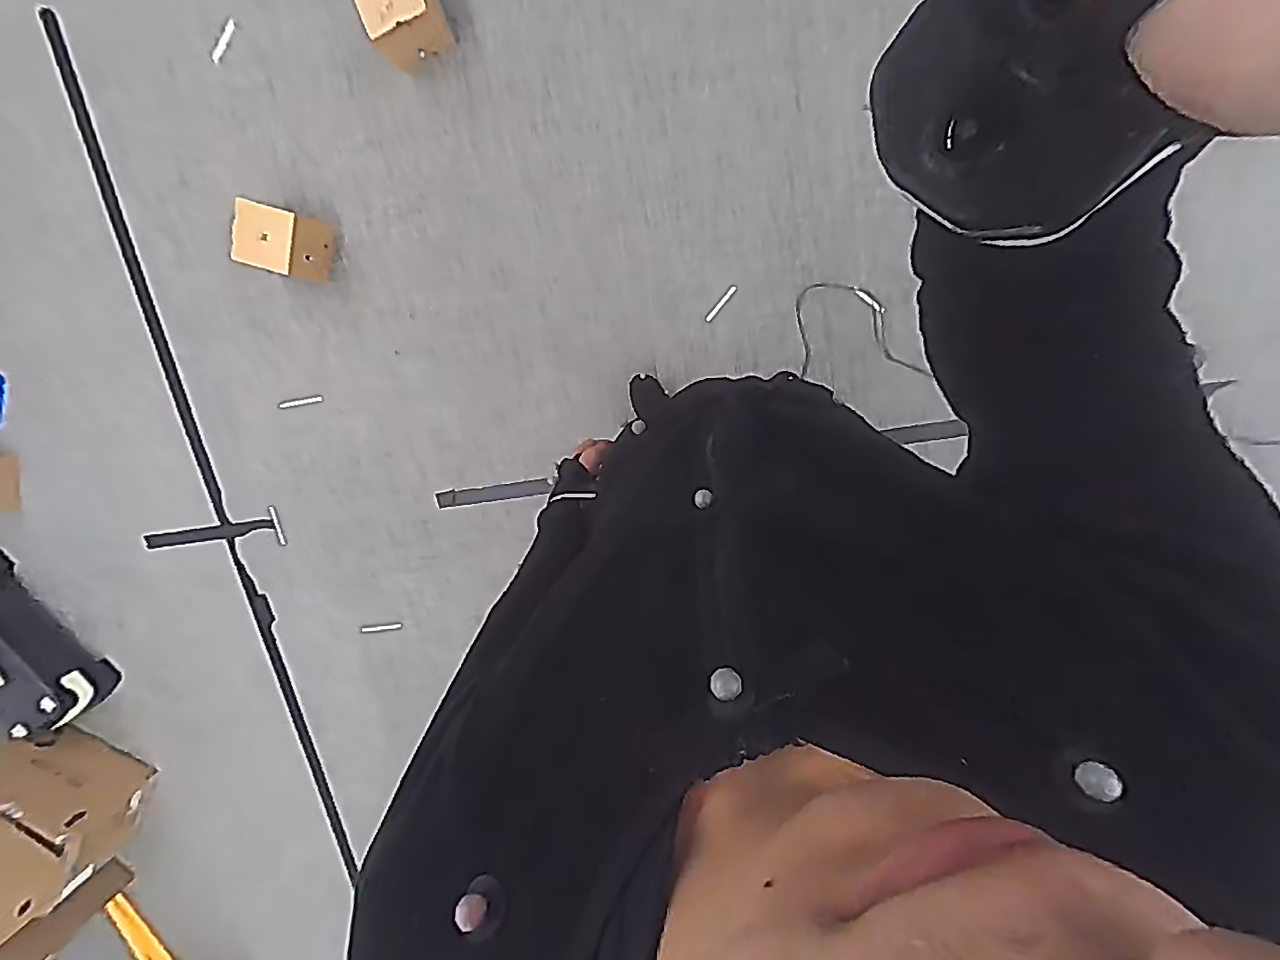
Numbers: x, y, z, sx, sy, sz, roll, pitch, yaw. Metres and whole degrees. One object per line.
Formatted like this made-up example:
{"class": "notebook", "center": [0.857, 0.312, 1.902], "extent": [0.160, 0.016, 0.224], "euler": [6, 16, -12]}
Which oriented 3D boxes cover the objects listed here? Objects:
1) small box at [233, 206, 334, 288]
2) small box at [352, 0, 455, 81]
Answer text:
{"class": "small box", "center": [-1.015, -0.658, 1.551], "extent": [0.179, 0.176, 0.168], "euler": [16, 104, 3]}
{"class": "small box", "center": [-0.610, -1.186, 1.388], "extent": [0.168, 0.176, 0.179], "euler": [-19, 100, 10]}
